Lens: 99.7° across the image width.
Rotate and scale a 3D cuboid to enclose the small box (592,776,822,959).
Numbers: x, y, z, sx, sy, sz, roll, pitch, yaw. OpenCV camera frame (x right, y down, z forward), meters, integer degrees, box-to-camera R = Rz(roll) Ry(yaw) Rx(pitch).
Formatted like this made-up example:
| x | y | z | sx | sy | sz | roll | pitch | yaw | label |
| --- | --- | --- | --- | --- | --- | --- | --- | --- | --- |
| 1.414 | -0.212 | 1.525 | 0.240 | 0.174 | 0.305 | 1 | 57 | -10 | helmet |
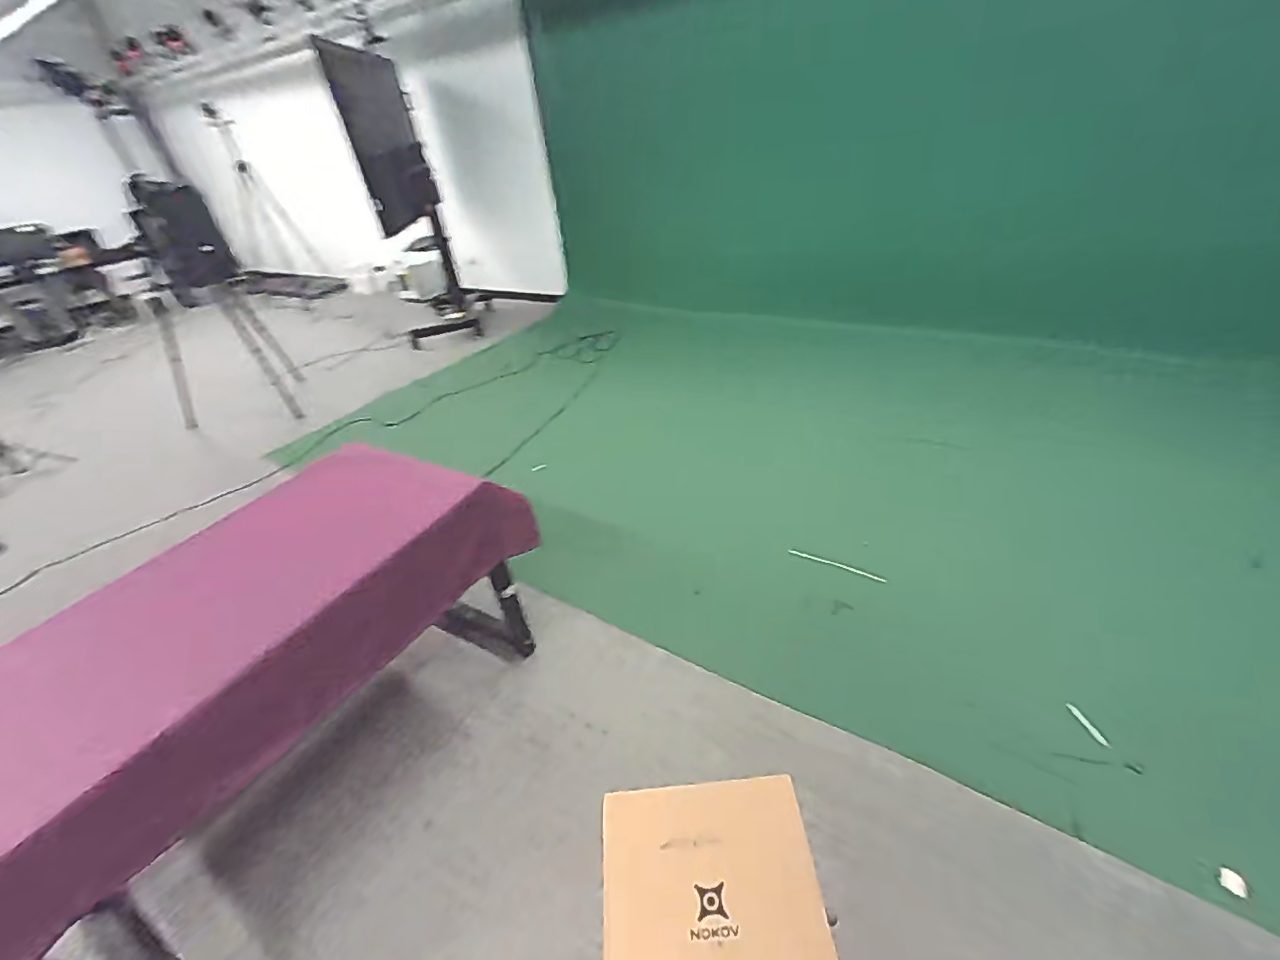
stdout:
| x | y | z | sx | sy | sz | roll | pitch | yaw | label |
| --- | --- | --- | --- | --- | --- | --- | --- | --- | --- |
| 0.053 | 0.382 | 0.457 | 0.168 | 0.176 | 0.179 | -6 | 39 | 0 | small box |
